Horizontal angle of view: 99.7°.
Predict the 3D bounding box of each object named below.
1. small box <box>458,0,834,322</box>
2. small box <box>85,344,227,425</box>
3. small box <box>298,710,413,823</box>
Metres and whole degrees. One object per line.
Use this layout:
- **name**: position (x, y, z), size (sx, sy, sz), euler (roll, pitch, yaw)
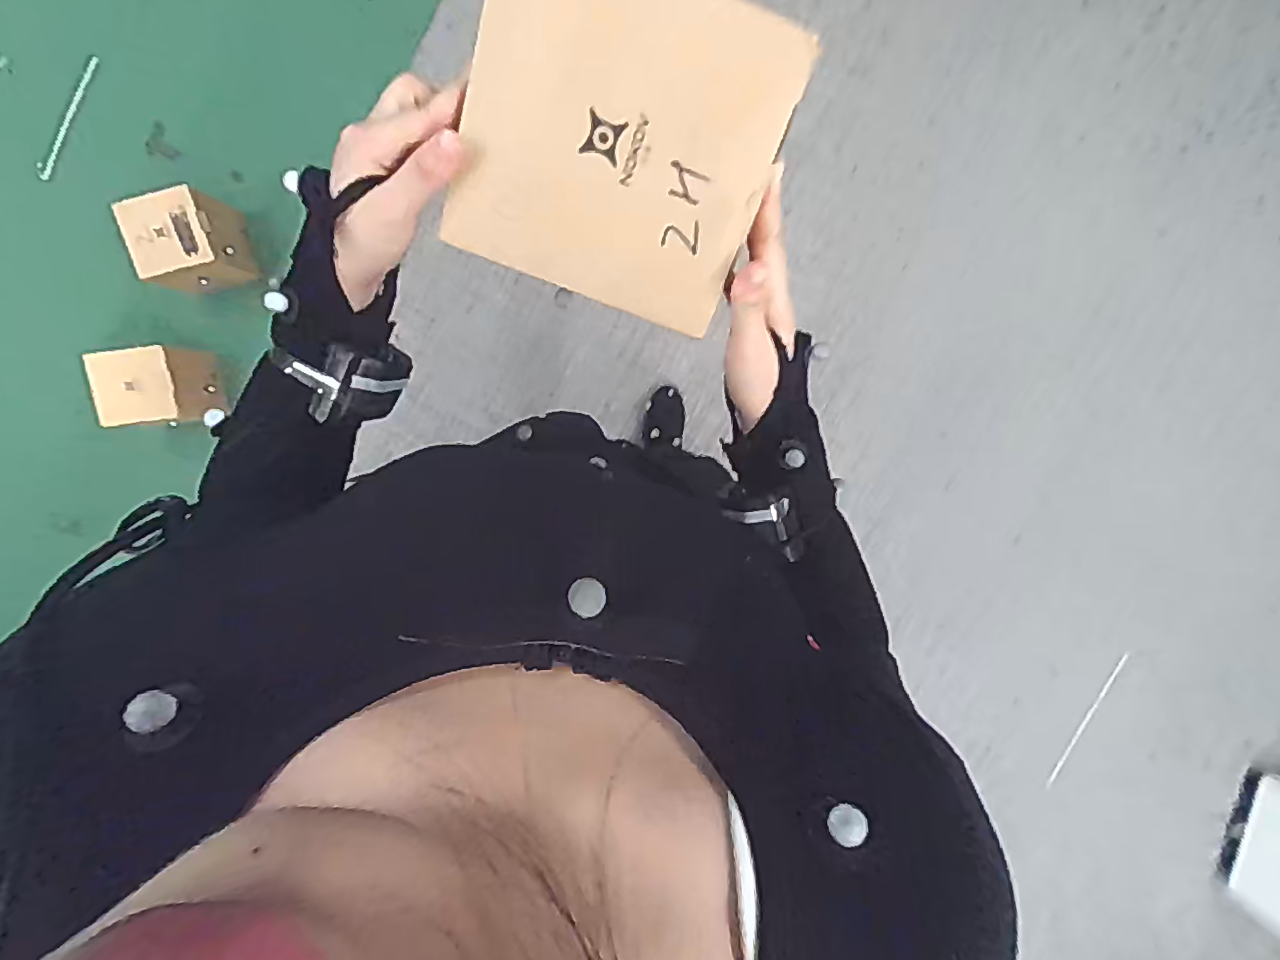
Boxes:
- **small box**: position (-0.001, -0.226, 0.382), size (0.179, 0.176, 0.168), euler (19, 112, -6)
- **small box**: position (-1.148, -0.222, 1.296), size (0.179, 0.176, 0.168), euler (-8, 97, -3)
- **small box**: position (-0.746, 0.746, 1.436), size (0.168, 0.176, 0.179), euler (-42, 99, 3)
